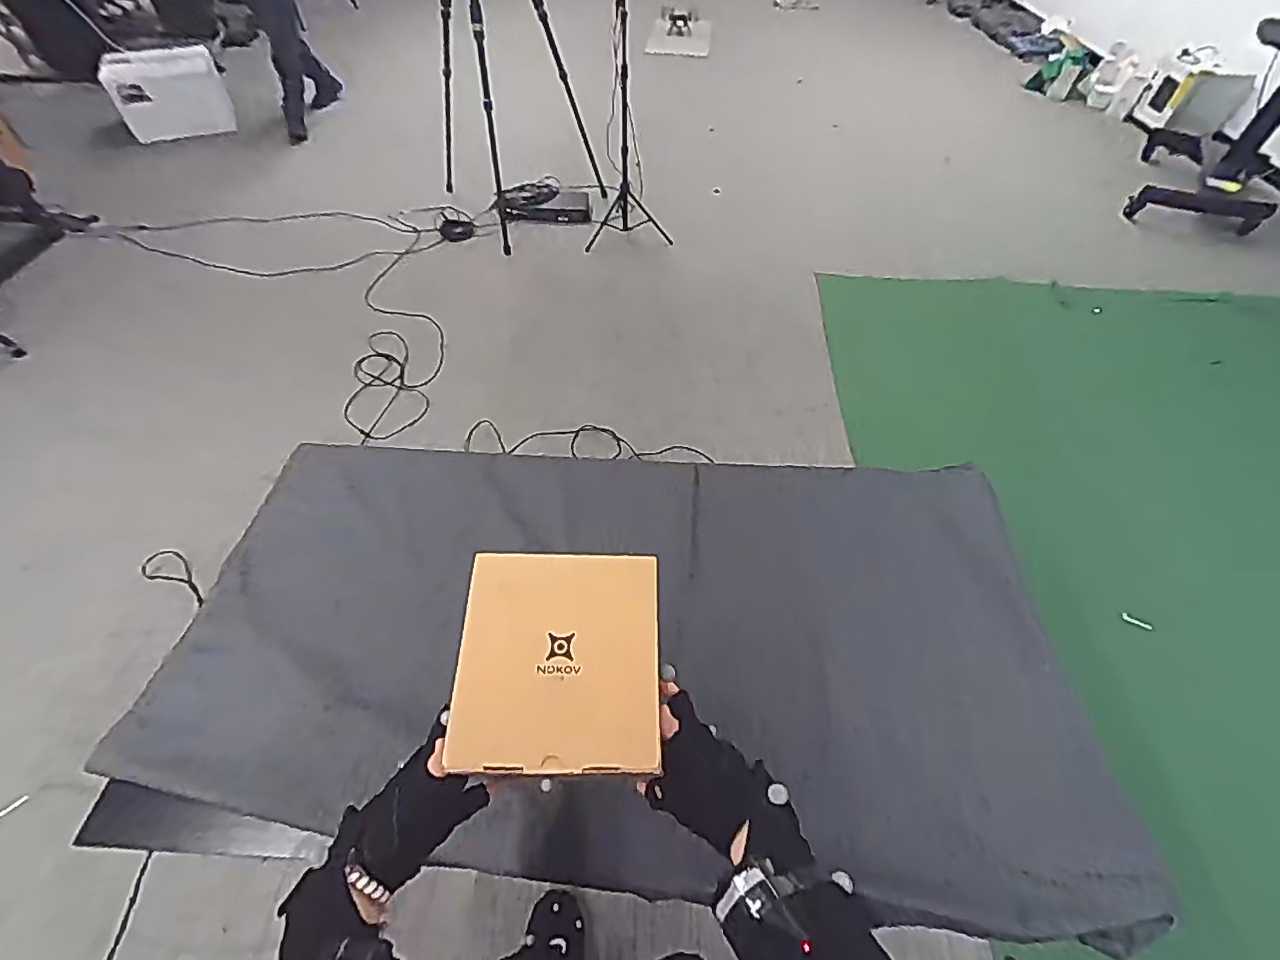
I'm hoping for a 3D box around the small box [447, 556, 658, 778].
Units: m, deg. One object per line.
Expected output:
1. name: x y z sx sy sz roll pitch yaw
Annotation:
1. small box: -0.072 0.188 0.528 0.168 0.176 0.179 2 61 -3
